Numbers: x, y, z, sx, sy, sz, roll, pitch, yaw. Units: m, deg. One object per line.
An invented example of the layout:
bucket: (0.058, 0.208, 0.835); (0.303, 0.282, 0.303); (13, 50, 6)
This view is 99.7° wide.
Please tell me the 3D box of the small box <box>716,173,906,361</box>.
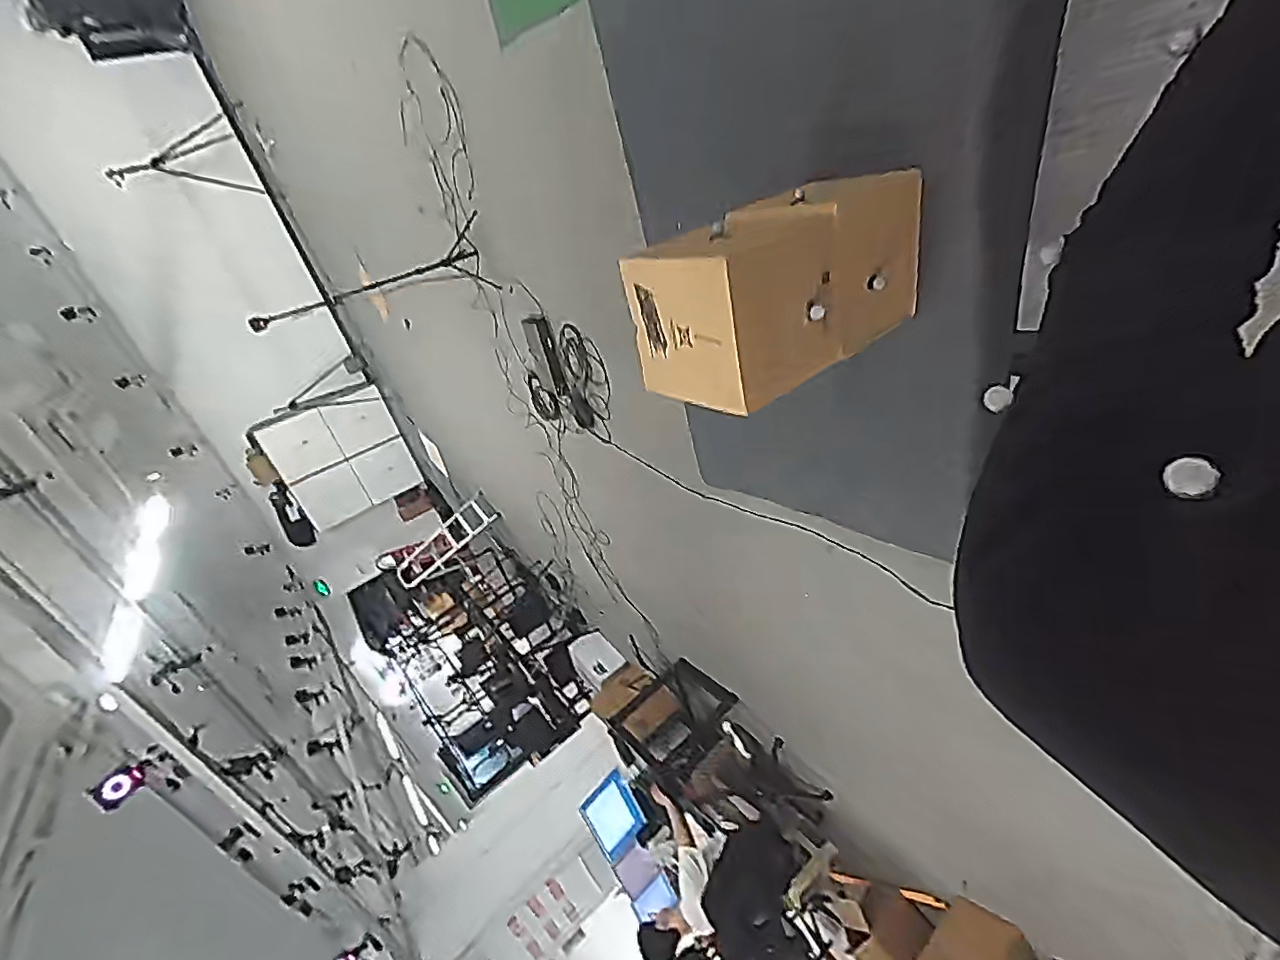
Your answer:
small box: (0.225, -0.279, 0.706); (0.168, 0.176, 0.179); (26, 139, 47)

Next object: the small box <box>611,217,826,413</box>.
small box: (0.096, -0.202, 0.638); (0.179, 0.176, 0.168); (26, 138, 47)
